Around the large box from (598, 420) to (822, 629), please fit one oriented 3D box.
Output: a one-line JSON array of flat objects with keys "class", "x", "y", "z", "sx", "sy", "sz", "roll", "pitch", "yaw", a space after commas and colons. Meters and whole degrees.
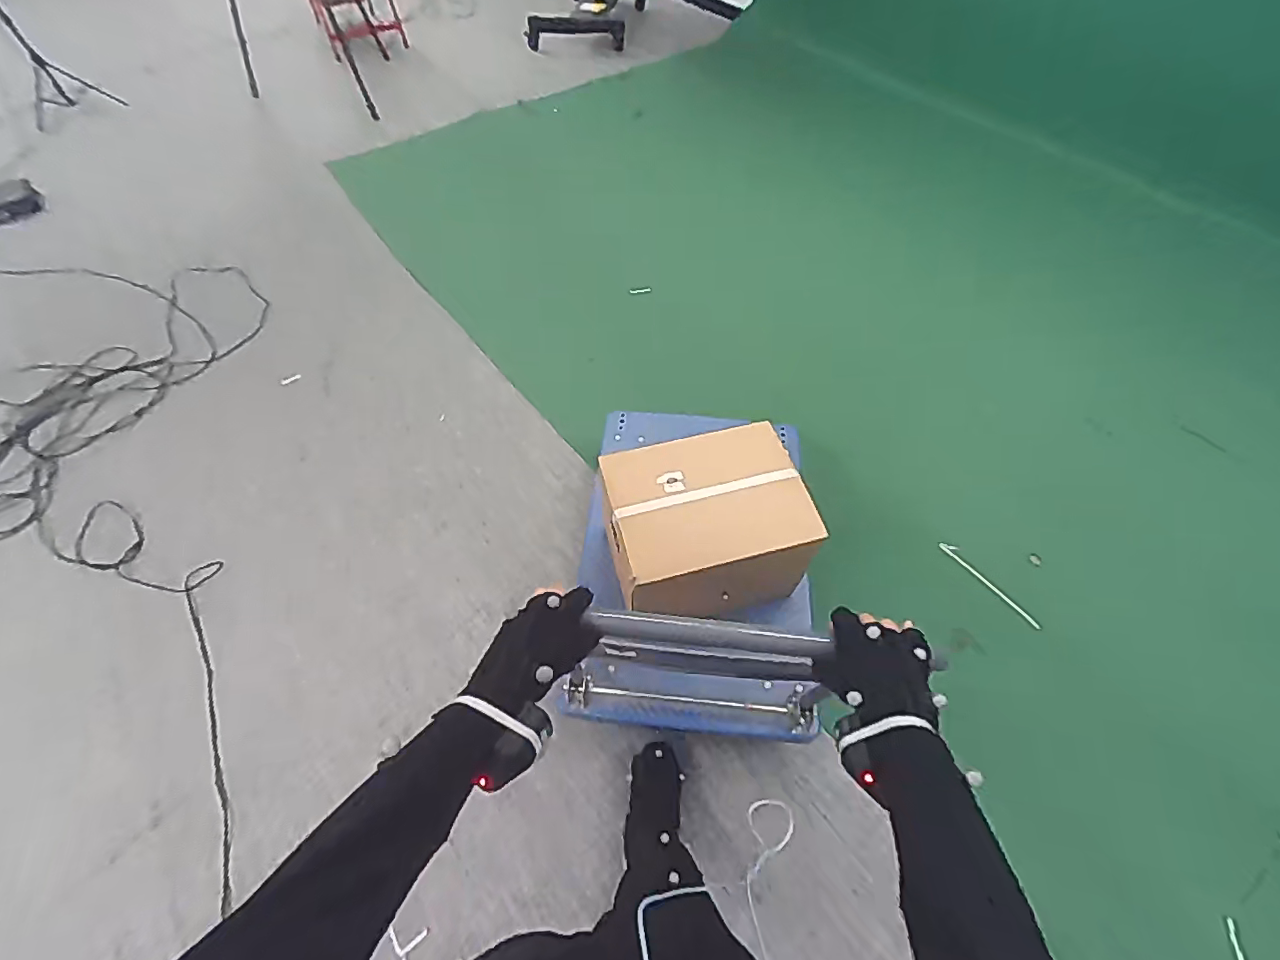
[{"class": "large box", "x": 0.140, "y": 0.110, "z": 1.256, "sx": 0.408, "sy": 0.320, "sz": 0.320, "roll": -13, "pitch": 58, "yaw": -8}]
